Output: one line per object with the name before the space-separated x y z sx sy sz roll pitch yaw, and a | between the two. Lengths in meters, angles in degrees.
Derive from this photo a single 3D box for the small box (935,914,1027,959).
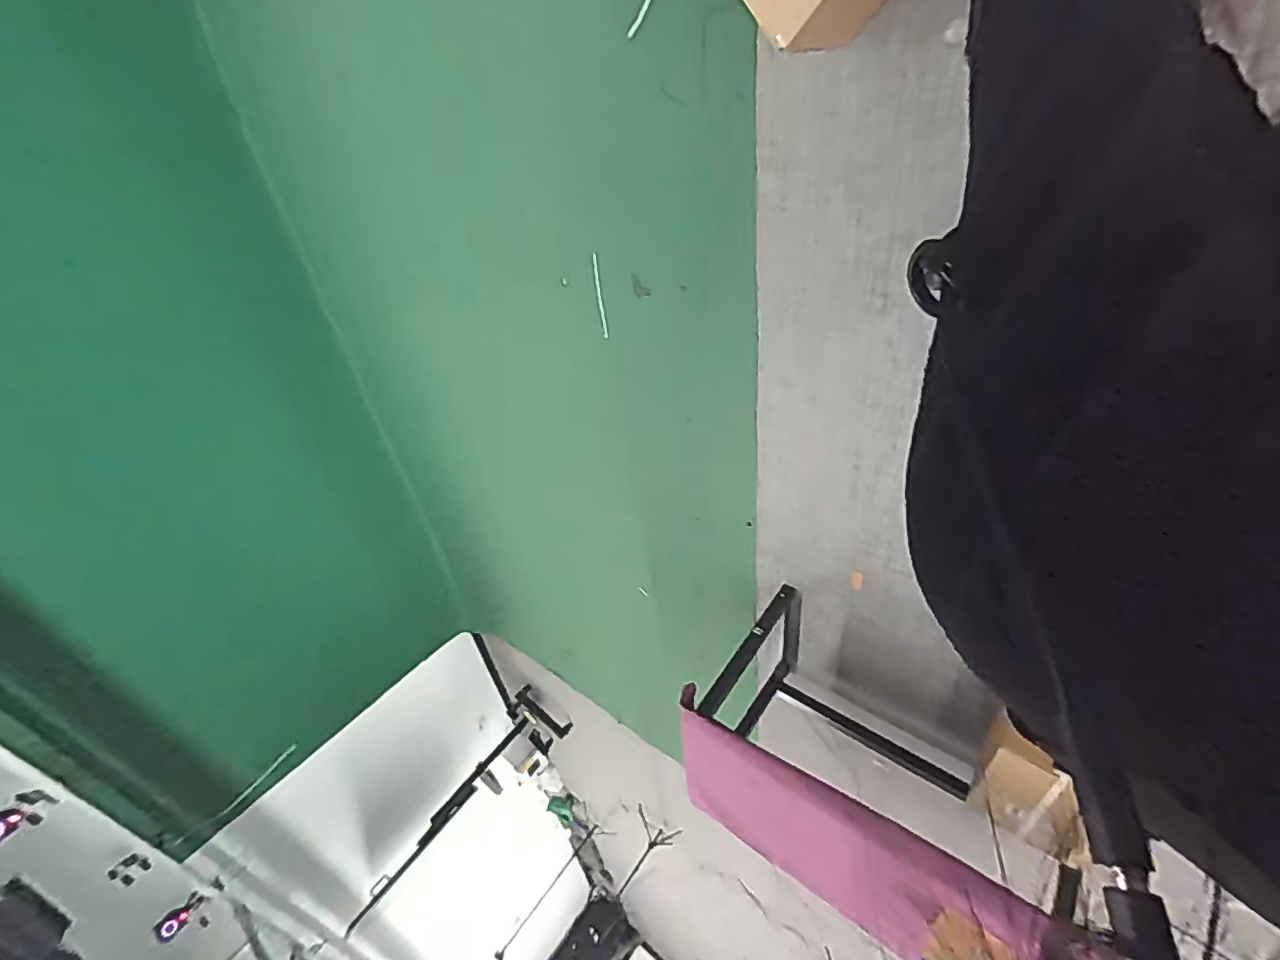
small box | 0.826 1.224 1.323 0.168 0.176 0.179 22 134 33
